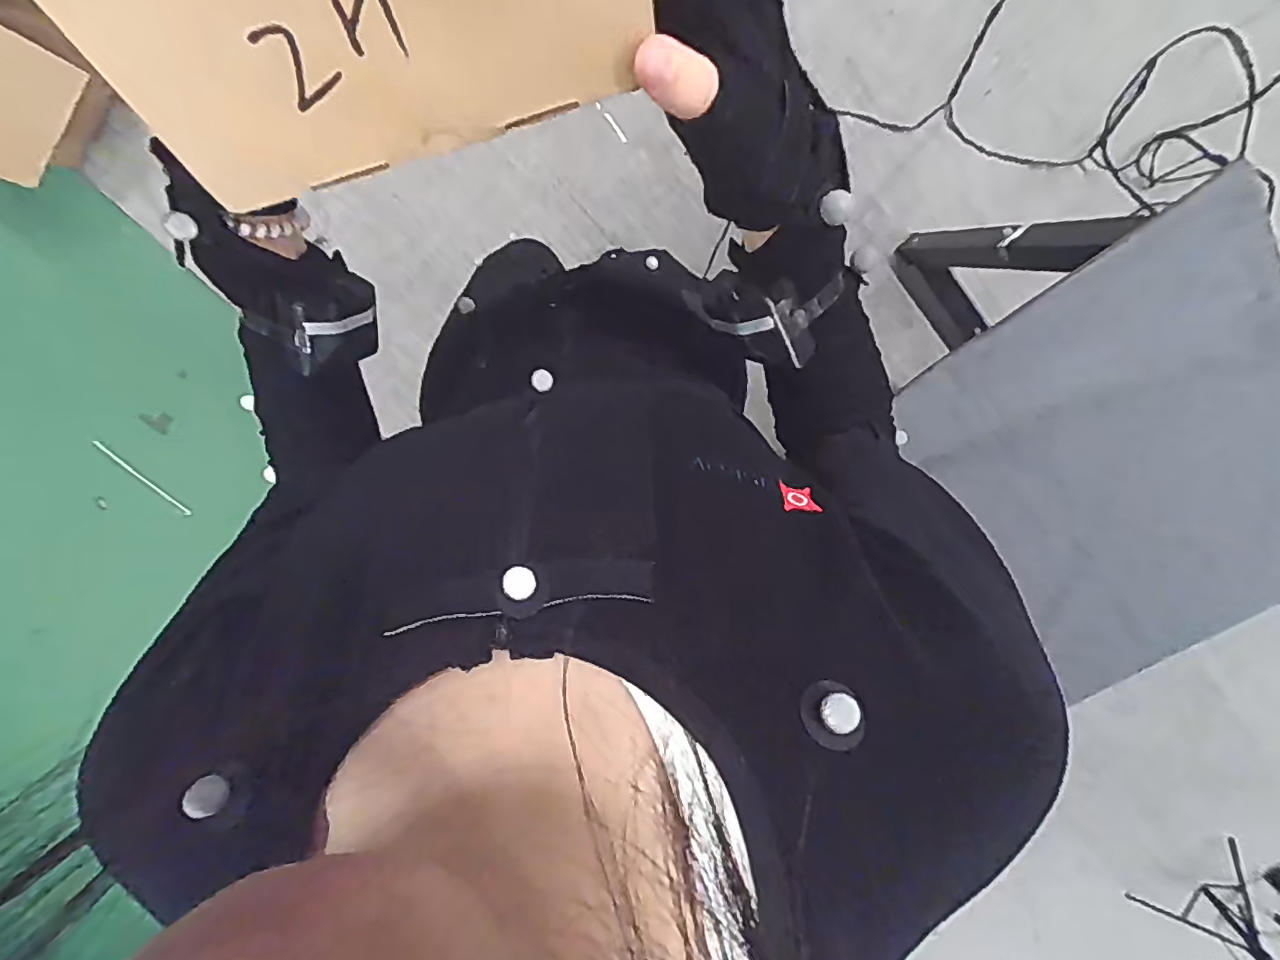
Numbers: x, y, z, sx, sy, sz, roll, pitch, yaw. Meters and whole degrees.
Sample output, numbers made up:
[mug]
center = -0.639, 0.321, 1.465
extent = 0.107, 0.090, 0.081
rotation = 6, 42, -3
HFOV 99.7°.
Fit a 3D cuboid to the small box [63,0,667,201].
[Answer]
[small box]
center = -0.100, -0.231, 0.163
extent = 0.168, 0.176, 0.179
rotation = -17, 150, 0
